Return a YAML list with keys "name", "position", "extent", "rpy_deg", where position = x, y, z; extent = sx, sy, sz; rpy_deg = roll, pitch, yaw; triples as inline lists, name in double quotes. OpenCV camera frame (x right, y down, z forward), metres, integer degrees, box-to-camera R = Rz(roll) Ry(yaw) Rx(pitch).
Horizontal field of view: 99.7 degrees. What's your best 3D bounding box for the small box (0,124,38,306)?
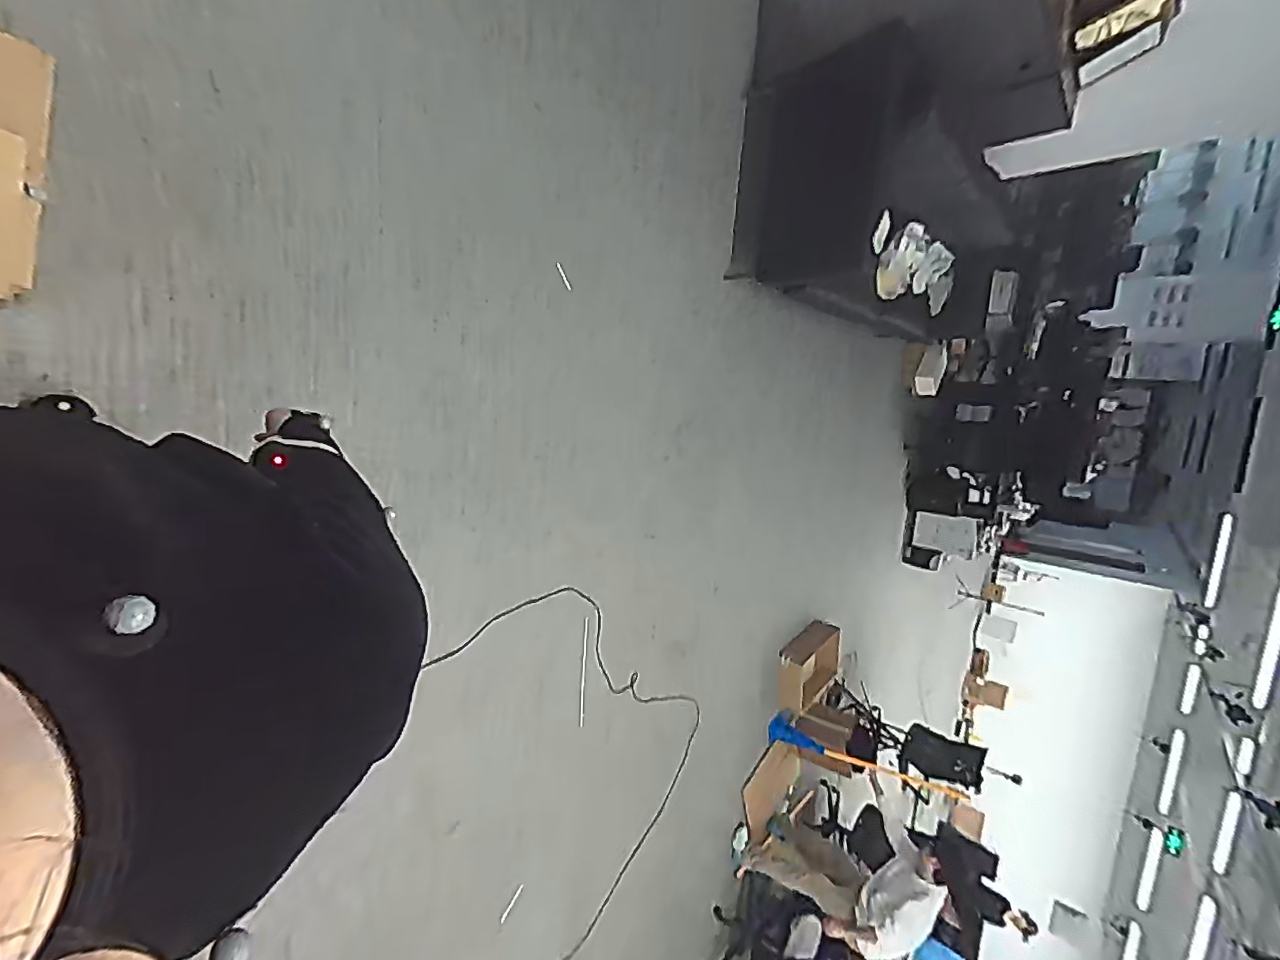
- name: "small box"
  position: [-0.773, -0.299, 0.572]
  extent: [0.168, 0.176, 0.179]
  rpy_deg: [6, 93, -50]
